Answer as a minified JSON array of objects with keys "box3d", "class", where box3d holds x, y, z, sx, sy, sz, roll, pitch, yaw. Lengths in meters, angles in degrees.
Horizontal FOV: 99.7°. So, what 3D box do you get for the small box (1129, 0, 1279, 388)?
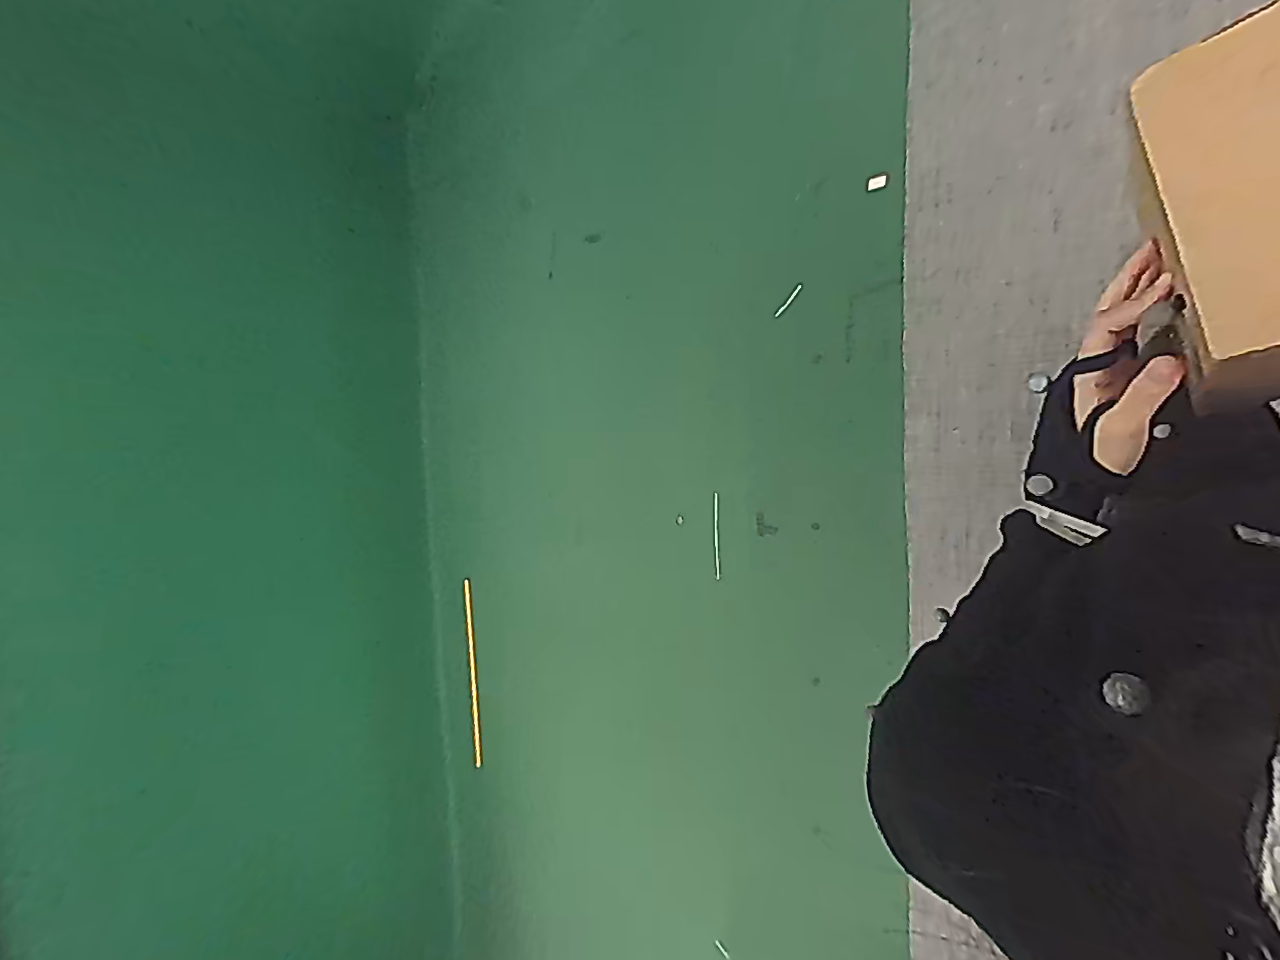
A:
[{"box3d":[0.408,-0.161,0.304,0.168,0.176,0.179,-15,74,43],"class":"small box"}]
